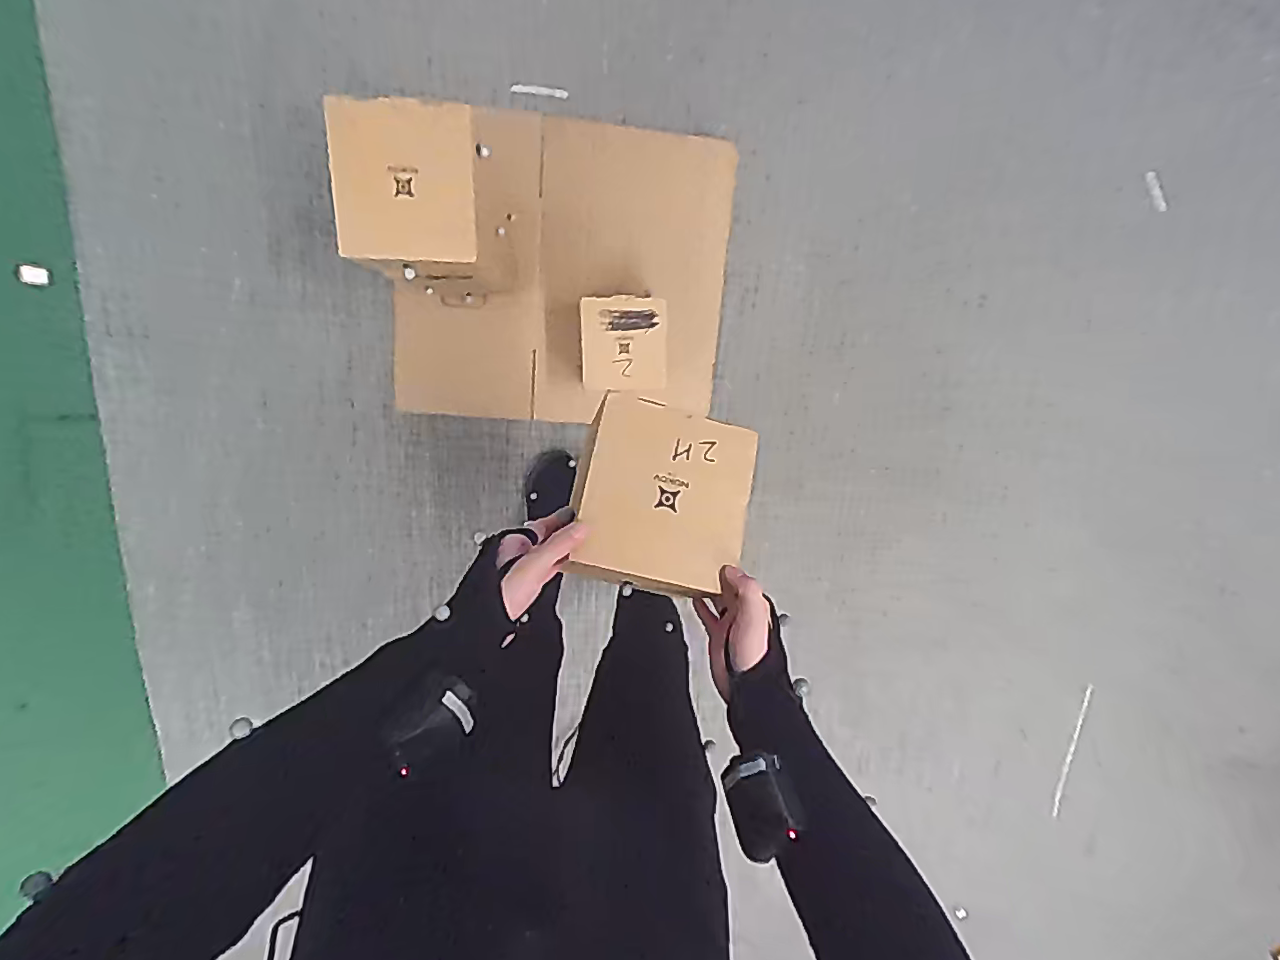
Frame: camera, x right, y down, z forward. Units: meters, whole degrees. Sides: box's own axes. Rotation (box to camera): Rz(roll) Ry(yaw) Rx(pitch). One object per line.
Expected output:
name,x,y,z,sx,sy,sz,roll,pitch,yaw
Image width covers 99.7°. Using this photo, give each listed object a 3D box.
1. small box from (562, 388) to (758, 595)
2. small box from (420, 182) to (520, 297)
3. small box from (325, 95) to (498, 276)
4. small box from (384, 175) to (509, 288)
small box,0.012,0.027,0.604,0.168,0.176,0.179,14,74,-10
small box,-0.326,-0.451,1.033,0.168,0.176,0.179,-4,105,-5
small box,-0.287,-0.373,0.720,0.168,0.176,0.179,-1,103,-6
small box,-0.309,-0.411,0.876,0.168,0.176,0.179,-1,103,-6
